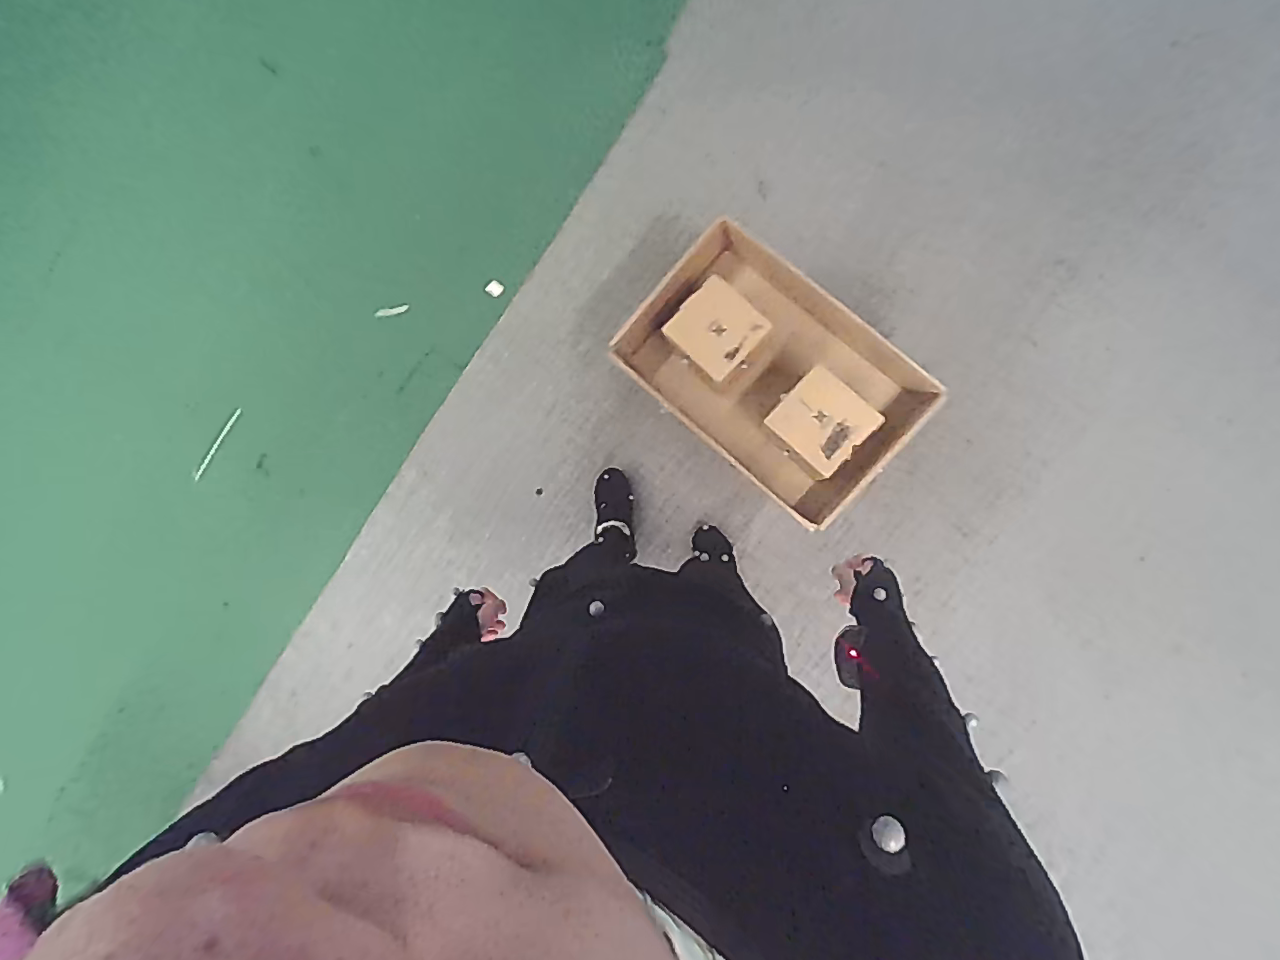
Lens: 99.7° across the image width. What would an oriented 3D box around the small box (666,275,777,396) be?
[{"bbox_3d":[0.183,-0.313,1.212,0.168,0.176,0.179,-45,80,6],"label":"small box"}]
